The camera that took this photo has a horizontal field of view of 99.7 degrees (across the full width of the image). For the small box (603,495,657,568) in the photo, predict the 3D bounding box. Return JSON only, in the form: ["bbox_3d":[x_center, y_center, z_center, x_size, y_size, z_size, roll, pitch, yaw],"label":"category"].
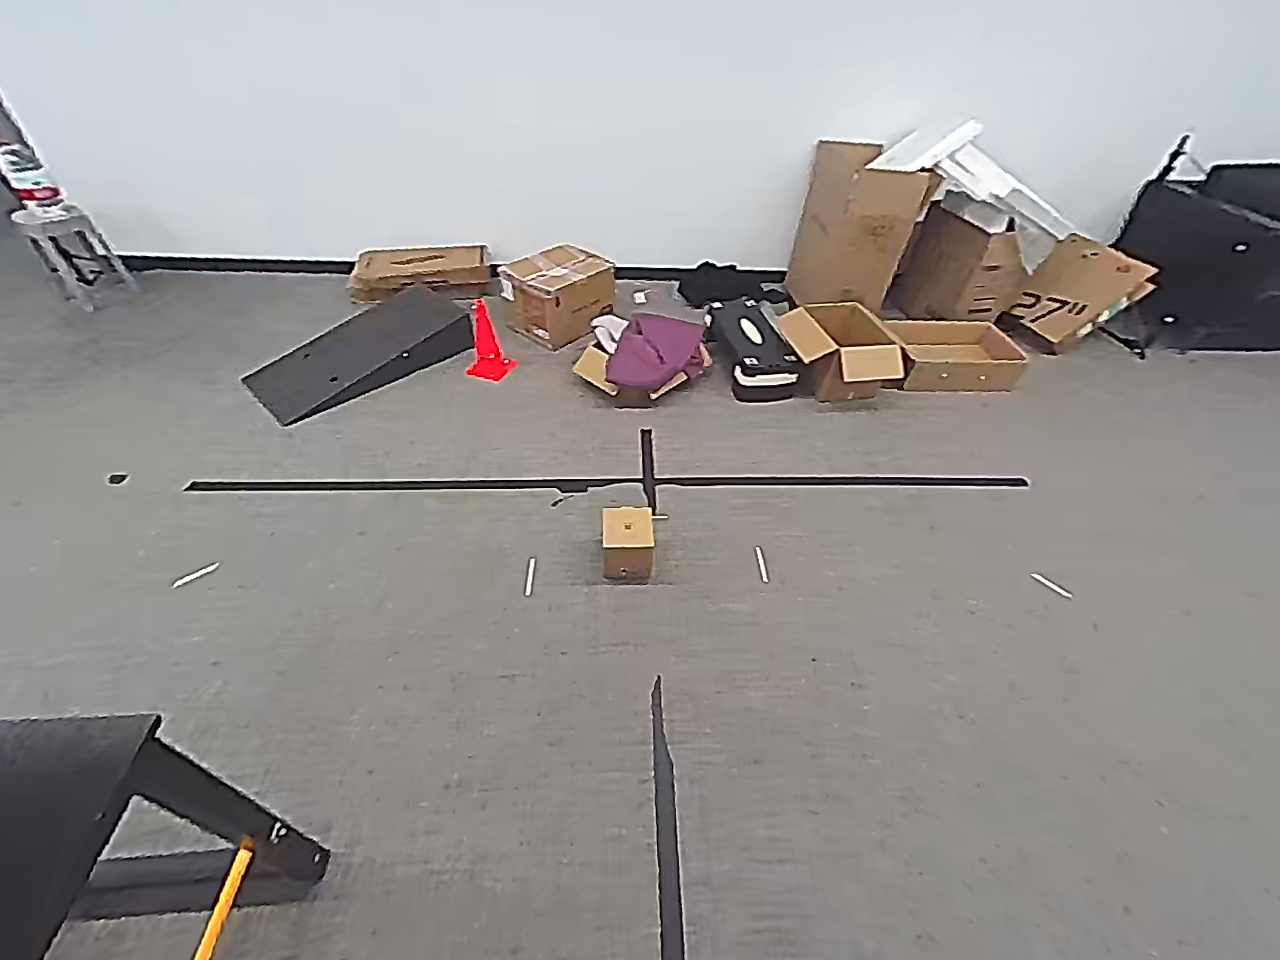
[{"bbox_3d":[-0.036,0.167,1.762,0.168,0.176,0.179,-2,45,-4],"label":"small box"}]
